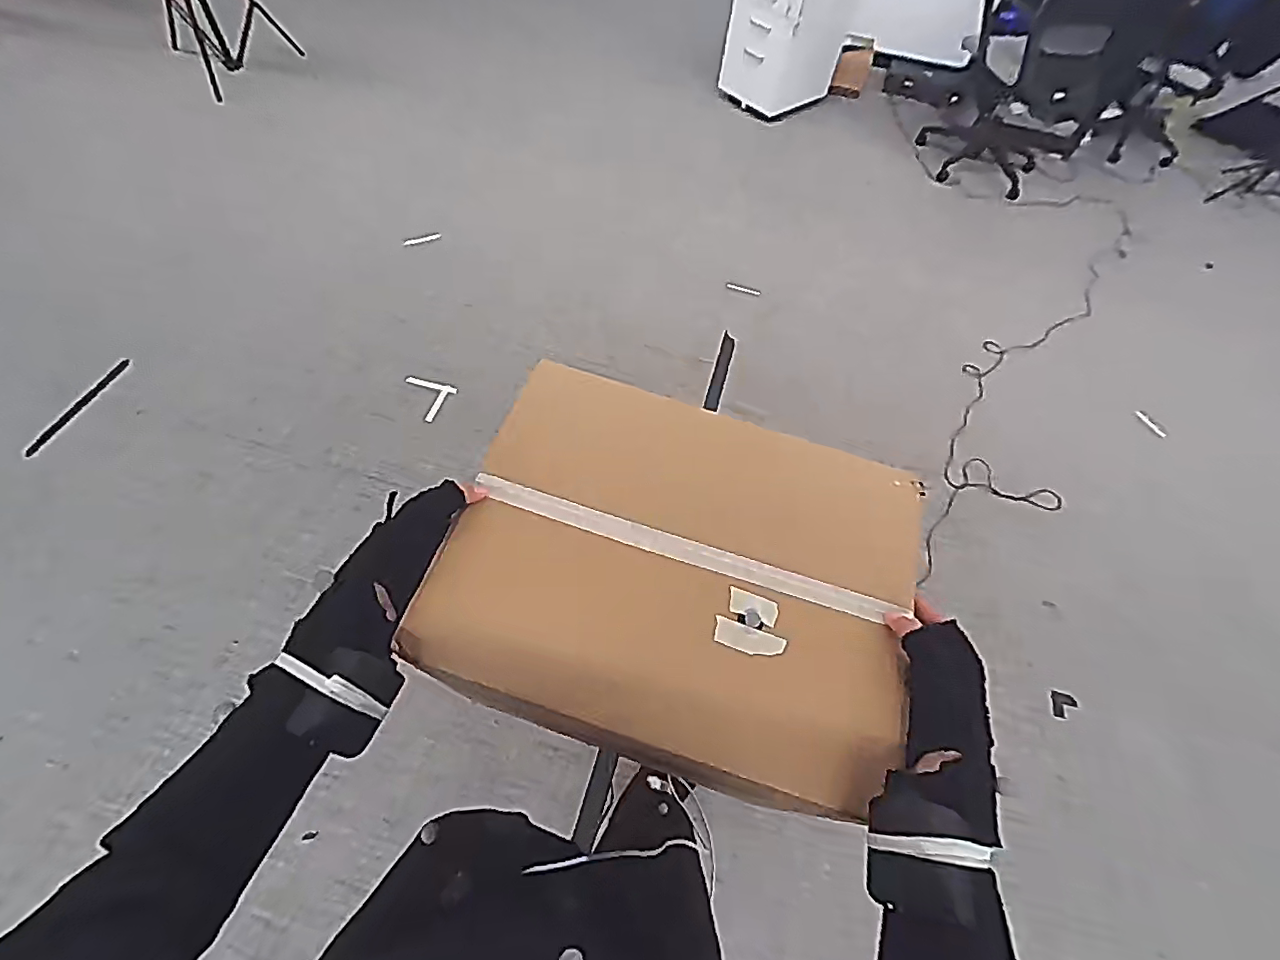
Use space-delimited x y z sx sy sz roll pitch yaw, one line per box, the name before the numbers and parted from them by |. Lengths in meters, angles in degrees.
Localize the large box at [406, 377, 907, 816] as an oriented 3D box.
large box | 0.026 0.143 0.620 0.408 0.320 0.320 18 62 3
